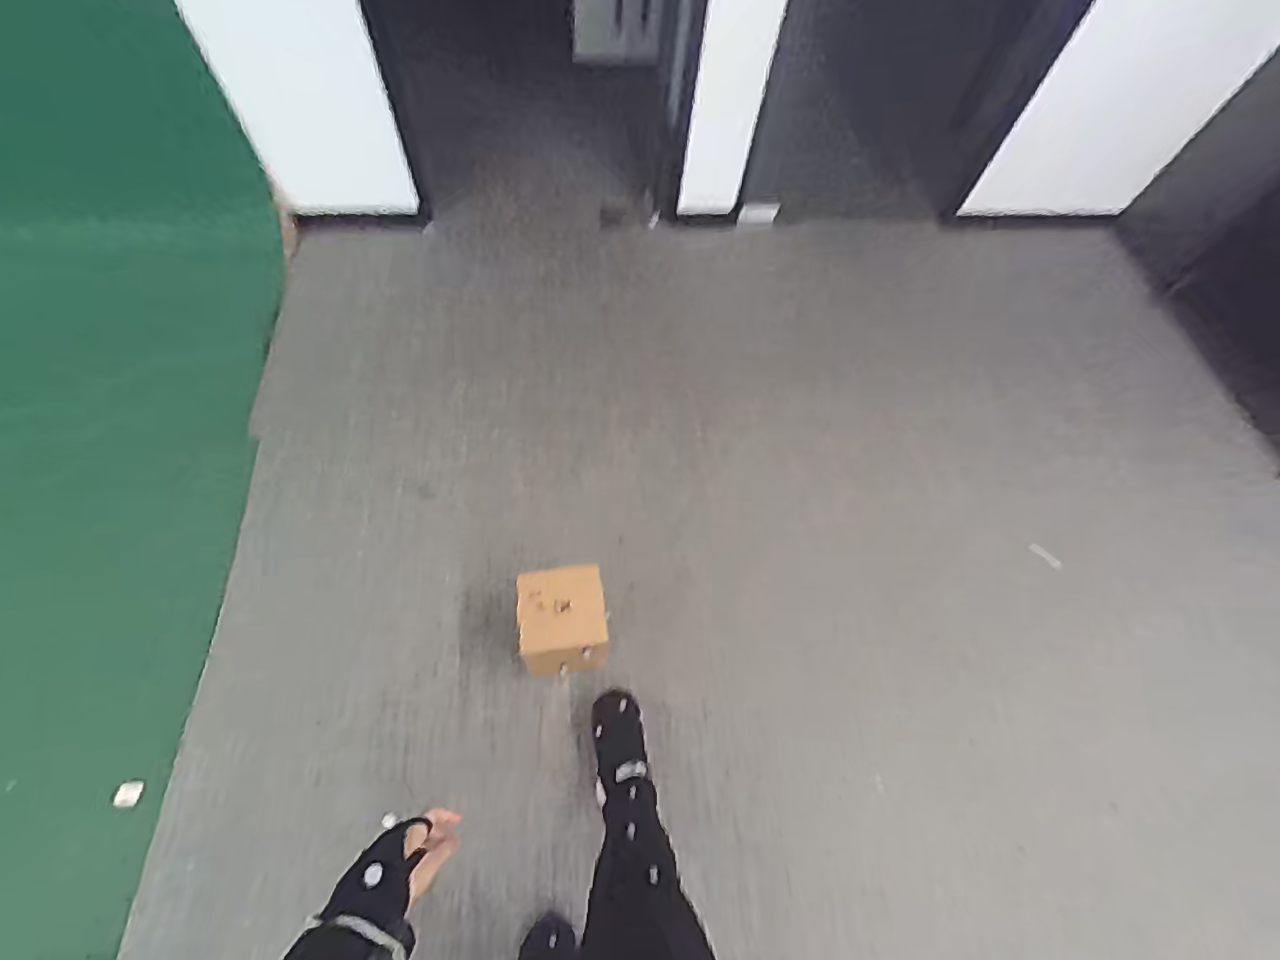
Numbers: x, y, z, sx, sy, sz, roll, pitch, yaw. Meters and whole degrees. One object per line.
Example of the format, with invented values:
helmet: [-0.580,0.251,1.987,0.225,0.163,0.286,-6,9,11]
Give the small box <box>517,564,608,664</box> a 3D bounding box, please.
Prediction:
small box: [-0.166,0.291,1.163,0.179,0.176,0.168,-5,63,-7]

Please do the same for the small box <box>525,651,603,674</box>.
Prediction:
small box: [-0.186,0.366,1.309,0.179,0.176,0.168,-6,64,-7]
